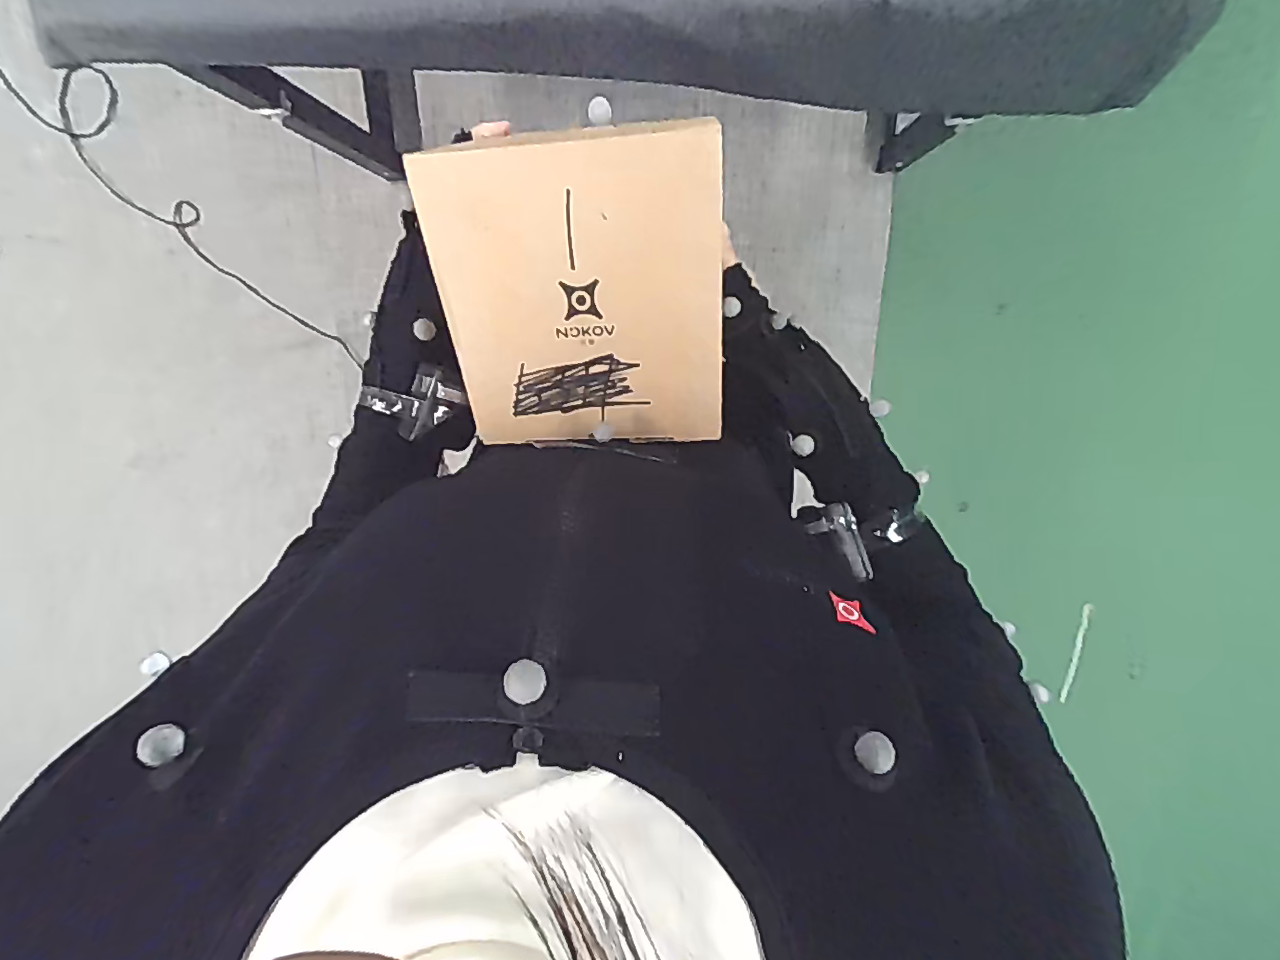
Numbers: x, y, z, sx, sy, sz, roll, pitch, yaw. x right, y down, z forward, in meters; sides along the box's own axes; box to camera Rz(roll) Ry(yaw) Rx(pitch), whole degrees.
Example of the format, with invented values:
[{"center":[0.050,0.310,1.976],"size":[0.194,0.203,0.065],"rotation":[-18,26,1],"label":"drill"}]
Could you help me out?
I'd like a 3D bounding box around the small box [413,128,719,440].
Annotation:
[{"center":[-0.029,-0.145,0.392],"size":[0.168,0.176,0.179],"rotation":[0,124,6],"label":"small box"}]
